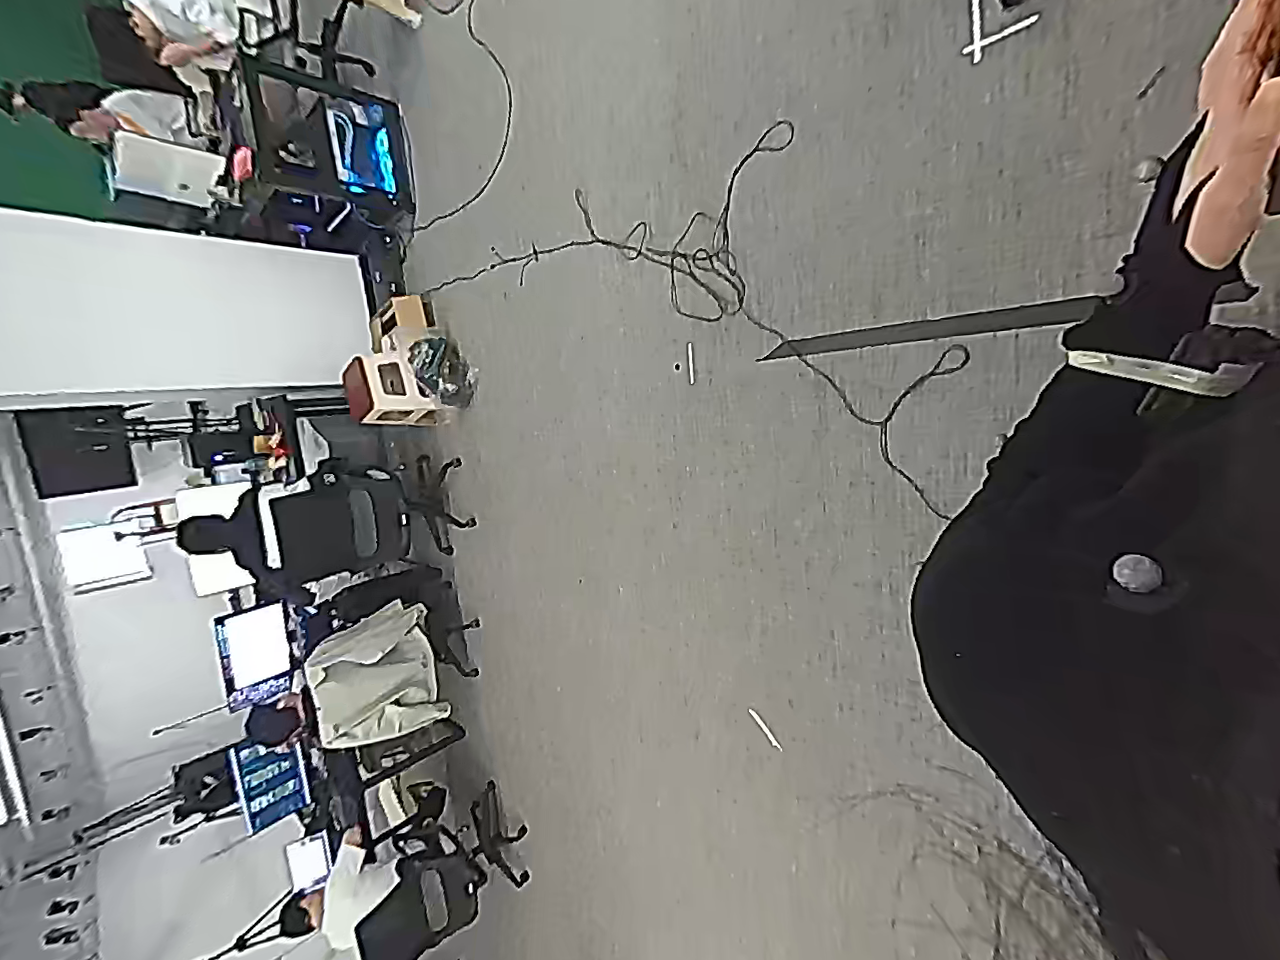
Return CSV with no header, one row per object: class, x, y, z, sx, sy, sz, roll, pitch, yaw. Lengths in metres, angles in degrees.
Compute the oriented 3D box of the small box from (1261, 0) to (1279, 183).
small box,0.417,-0.263,0.250,0.168,0.176,0.179,1,92,47
